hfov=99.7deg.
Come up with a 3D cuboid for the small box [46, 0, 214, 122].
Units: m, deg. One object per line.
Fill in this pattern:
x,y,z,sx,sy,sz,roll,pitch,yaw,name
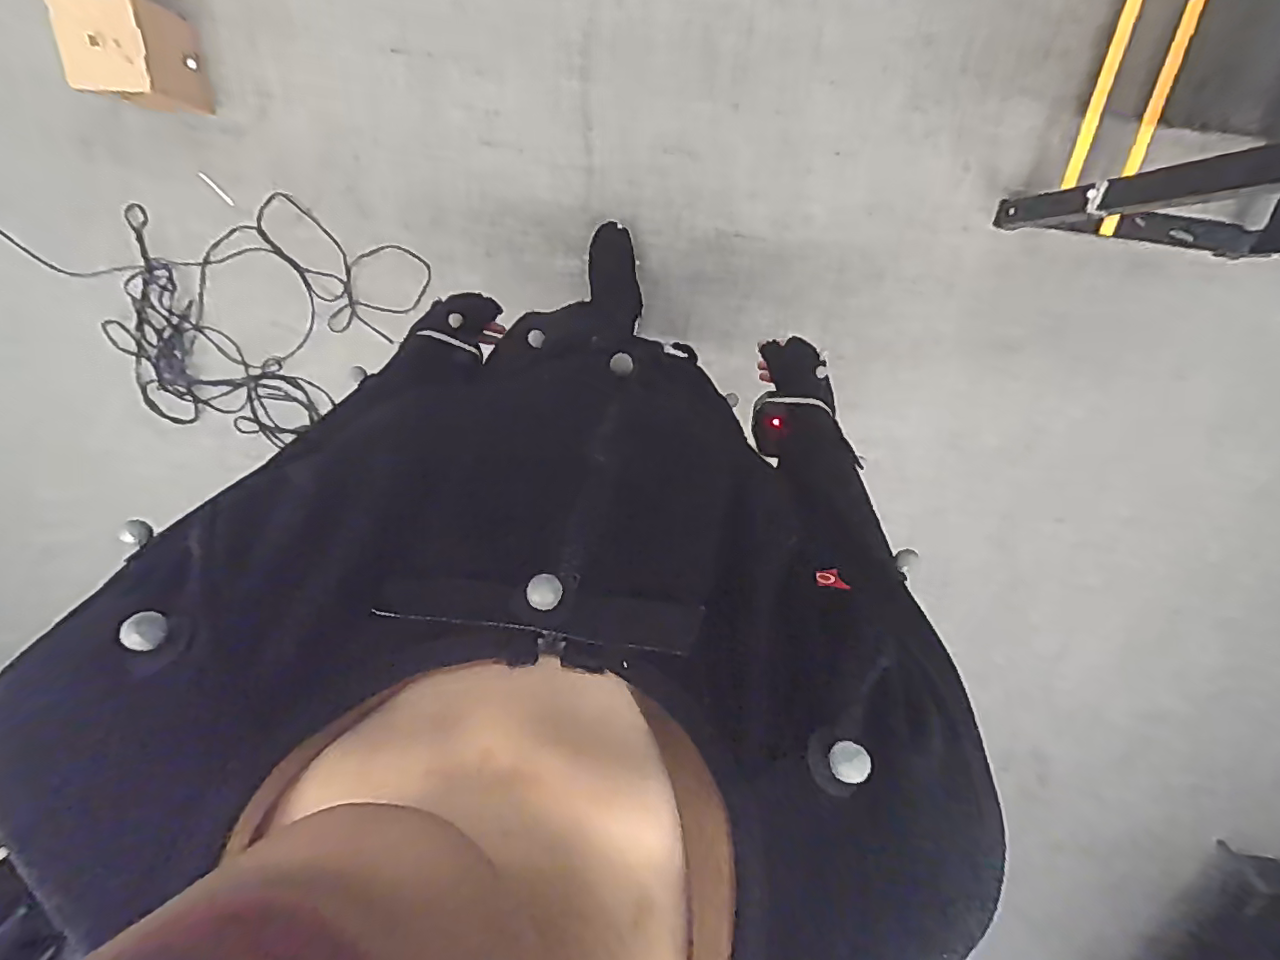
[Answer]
-1.066,-0.878,1.146,0.179,0.176,0.168,3,111,1,small box
